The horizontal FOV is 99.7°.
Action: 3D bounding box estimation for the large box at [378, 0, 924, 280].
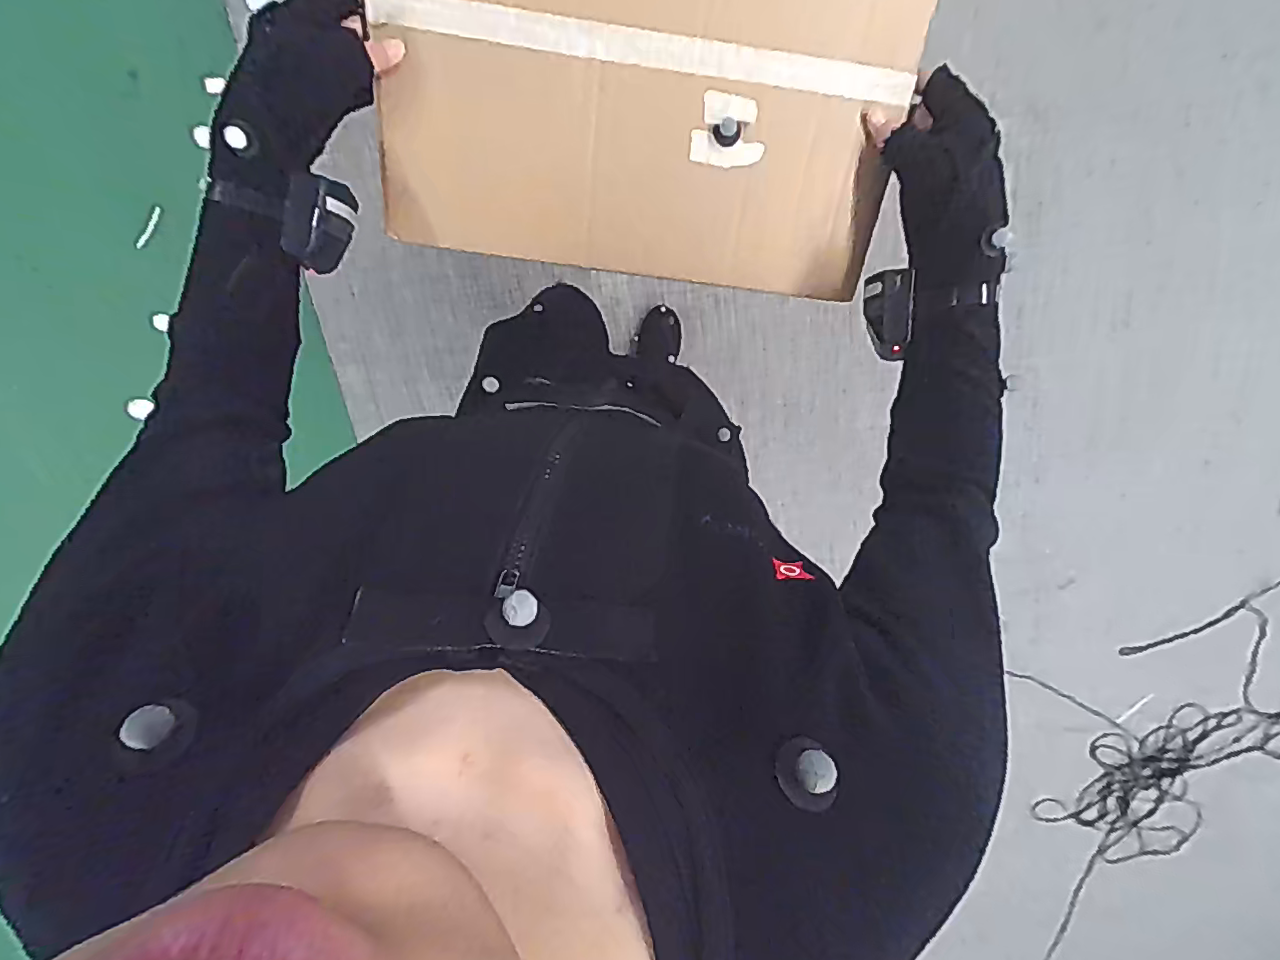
[{"bbox_3d":[0.000,-0.394,0.537,0.408,0.320,0.320,5,117,-6],"label":"large box"}]
